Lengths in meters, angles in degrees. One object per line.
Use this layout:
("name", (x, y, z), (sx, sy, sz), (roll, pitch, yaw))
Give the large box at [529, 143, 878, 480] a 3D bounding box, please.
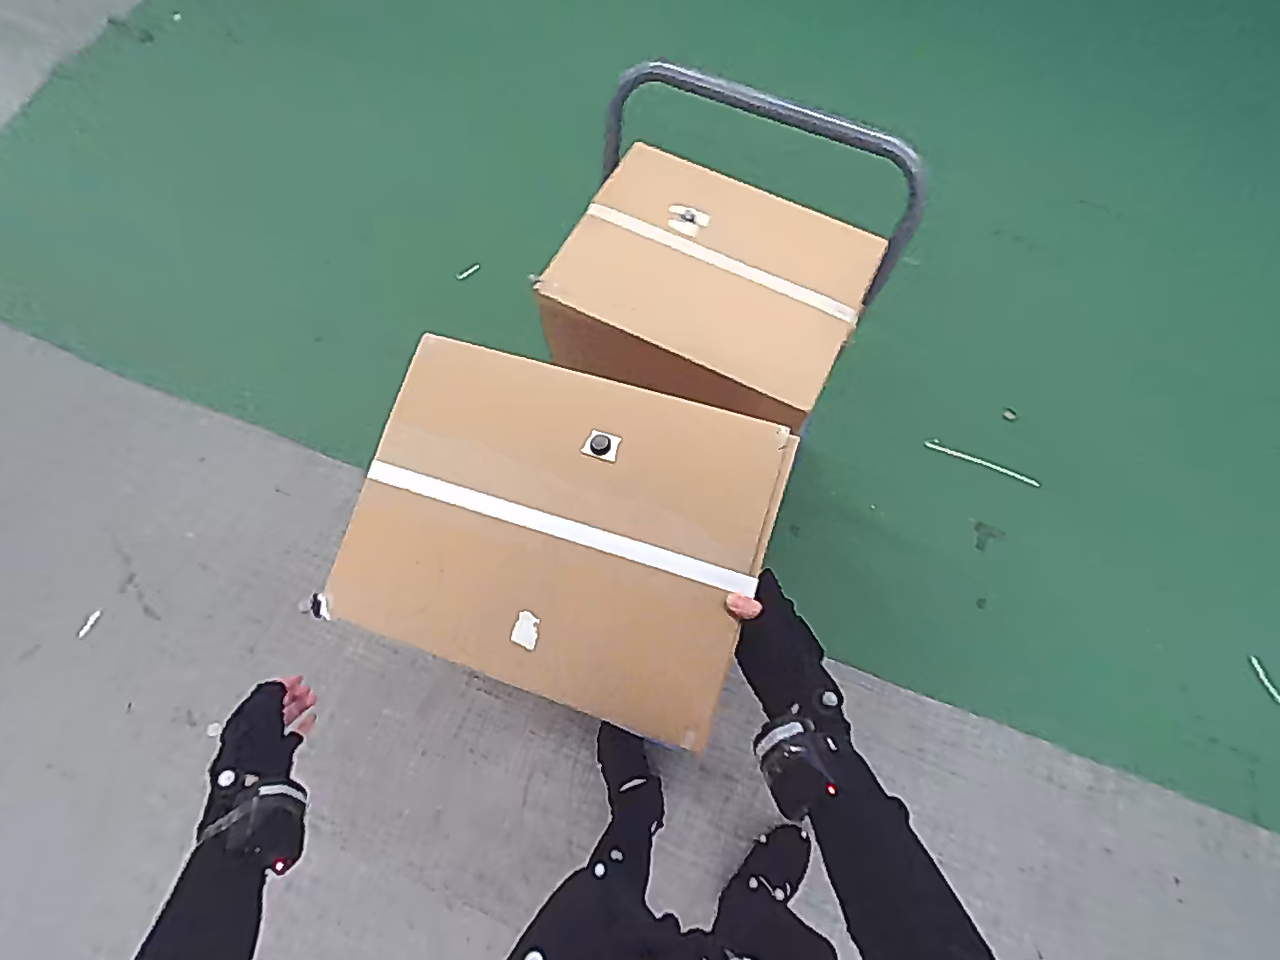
("large box", (0.095, -0.250, 0.882), (0.408, 0.320, 0.320), (26, 72, 9))
